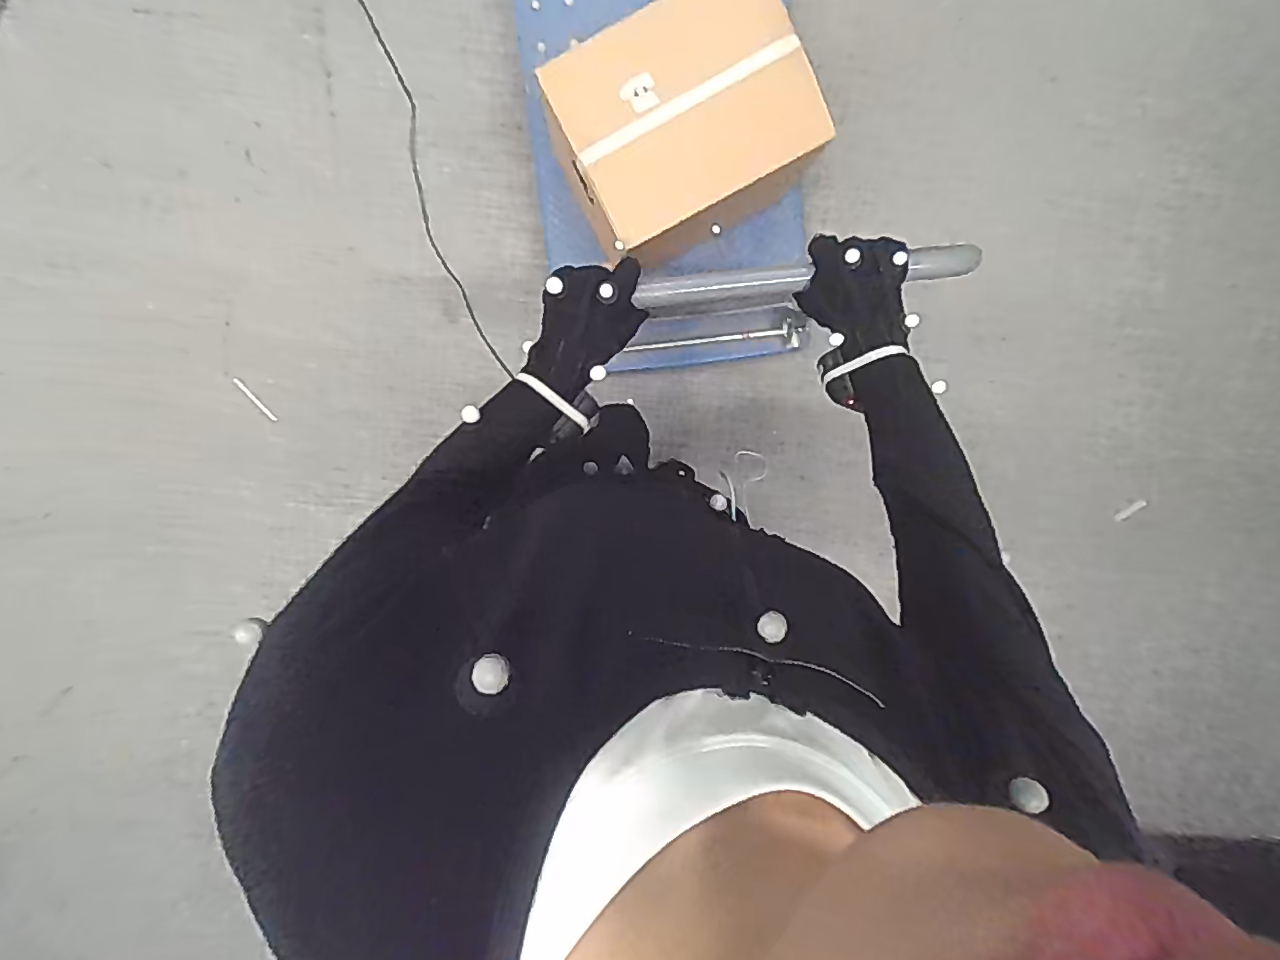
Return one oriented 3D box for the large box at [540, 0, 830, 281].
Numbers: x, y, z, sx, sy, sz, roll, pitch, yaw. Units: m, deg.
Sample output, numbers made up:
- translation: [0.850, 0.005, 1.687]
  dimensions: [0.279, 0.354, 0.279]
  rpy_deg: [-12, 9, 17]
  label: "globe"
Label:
- translation: [0.076, -0.643, 1.042]
  dimensions: [0.408, 0.320, 0.320]
  rpy_deg: [-28, 98, 3]
  label: "large box"
